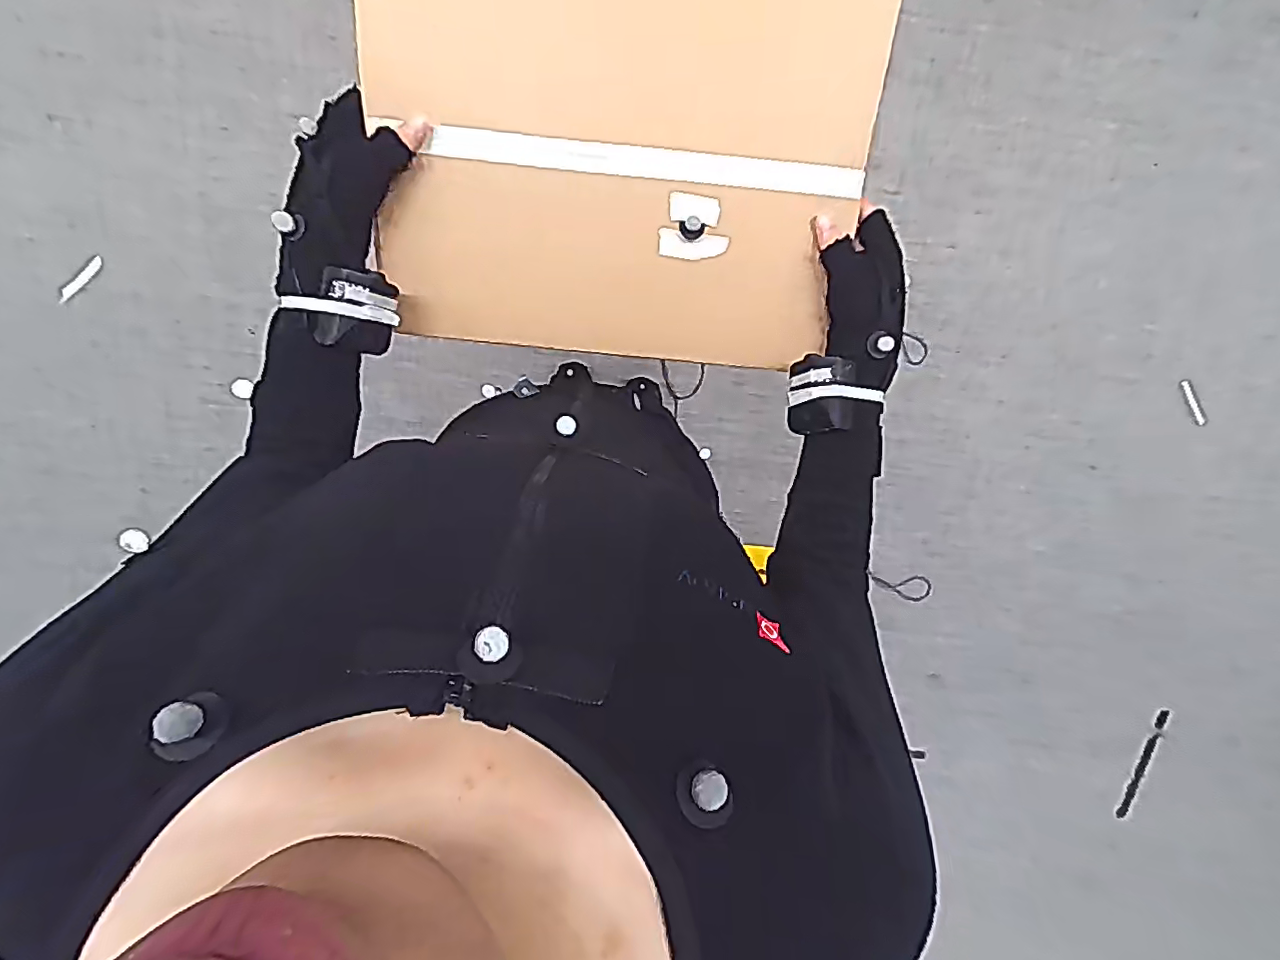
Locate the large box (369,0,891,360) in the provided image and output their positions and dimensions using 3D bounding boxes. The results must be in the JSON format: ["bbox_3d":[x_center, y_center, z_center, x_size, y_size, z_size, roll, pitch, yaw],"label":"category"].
[{"bbox_3d":[-0.019,-0.320,0.586,0.408,0.320,0.320,5,112,-3],"label":"large box"}]

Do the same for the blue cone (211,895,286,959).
[{"bbox_3d":[-1.306,1.540,1.684,0.192,0.380,0.193,10,103,-1],"label":"blue cone"}]
